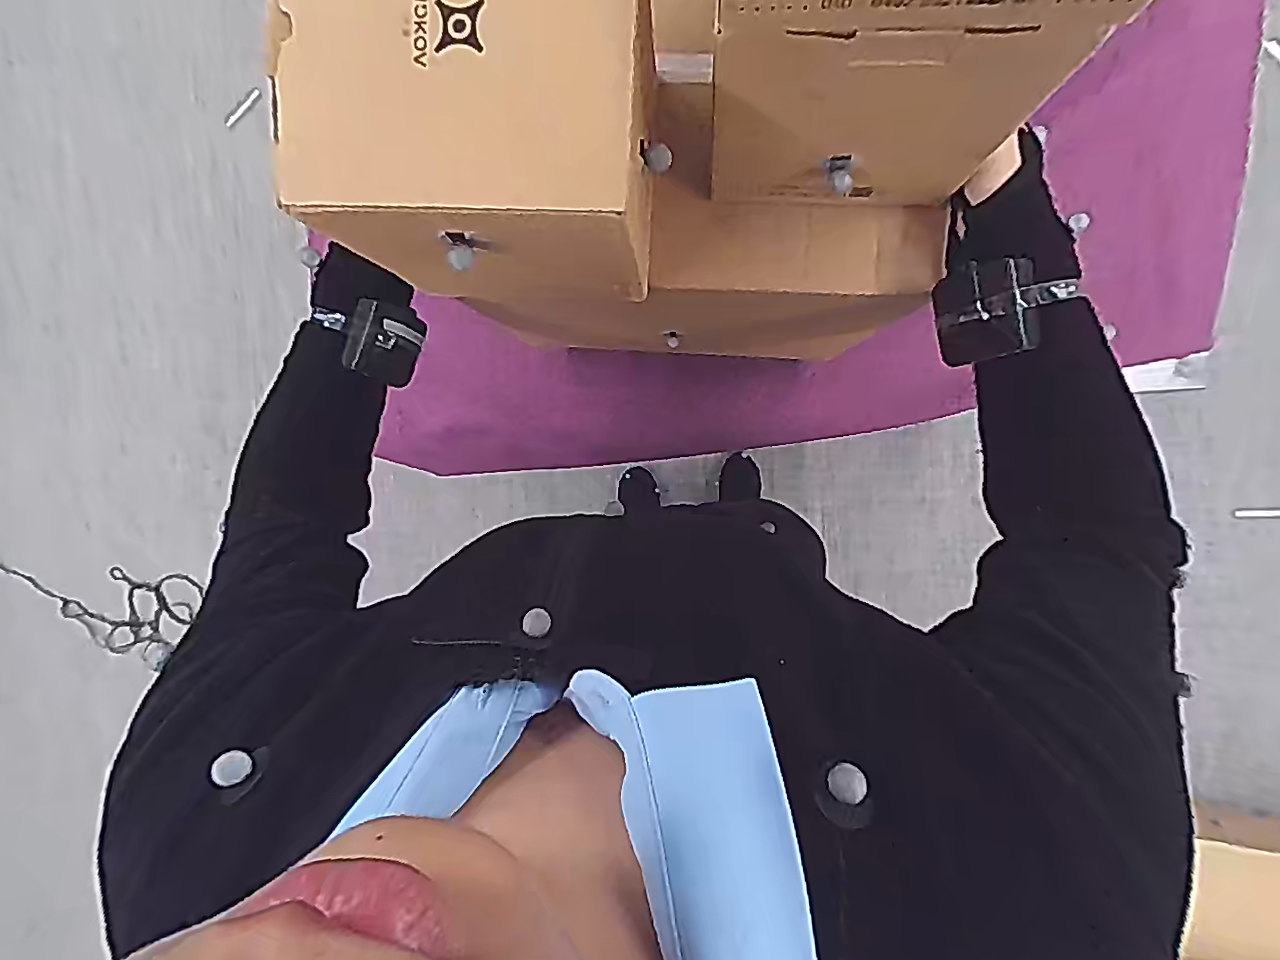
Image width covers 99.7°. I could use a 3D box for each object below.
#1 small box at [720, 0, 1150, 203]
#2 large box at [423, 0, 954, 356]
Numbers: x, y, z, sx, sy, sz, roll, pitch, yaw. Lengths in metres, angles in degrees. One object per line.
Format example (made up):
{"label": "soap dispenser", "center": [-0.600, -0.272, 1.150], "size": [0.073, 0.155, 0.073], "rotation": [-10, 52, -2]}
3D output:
{"label": "small box", "center": [0.134, -0.280, 0.294], "size": [0.168, 0.176, 0.179], "rotation": [4, 94, 7]}
{"label": "large box", "center": [0.047, -0.305, 0.548], "size": [0.408, 0.320, 0.320], "rotation": [3, 93, 6]}
